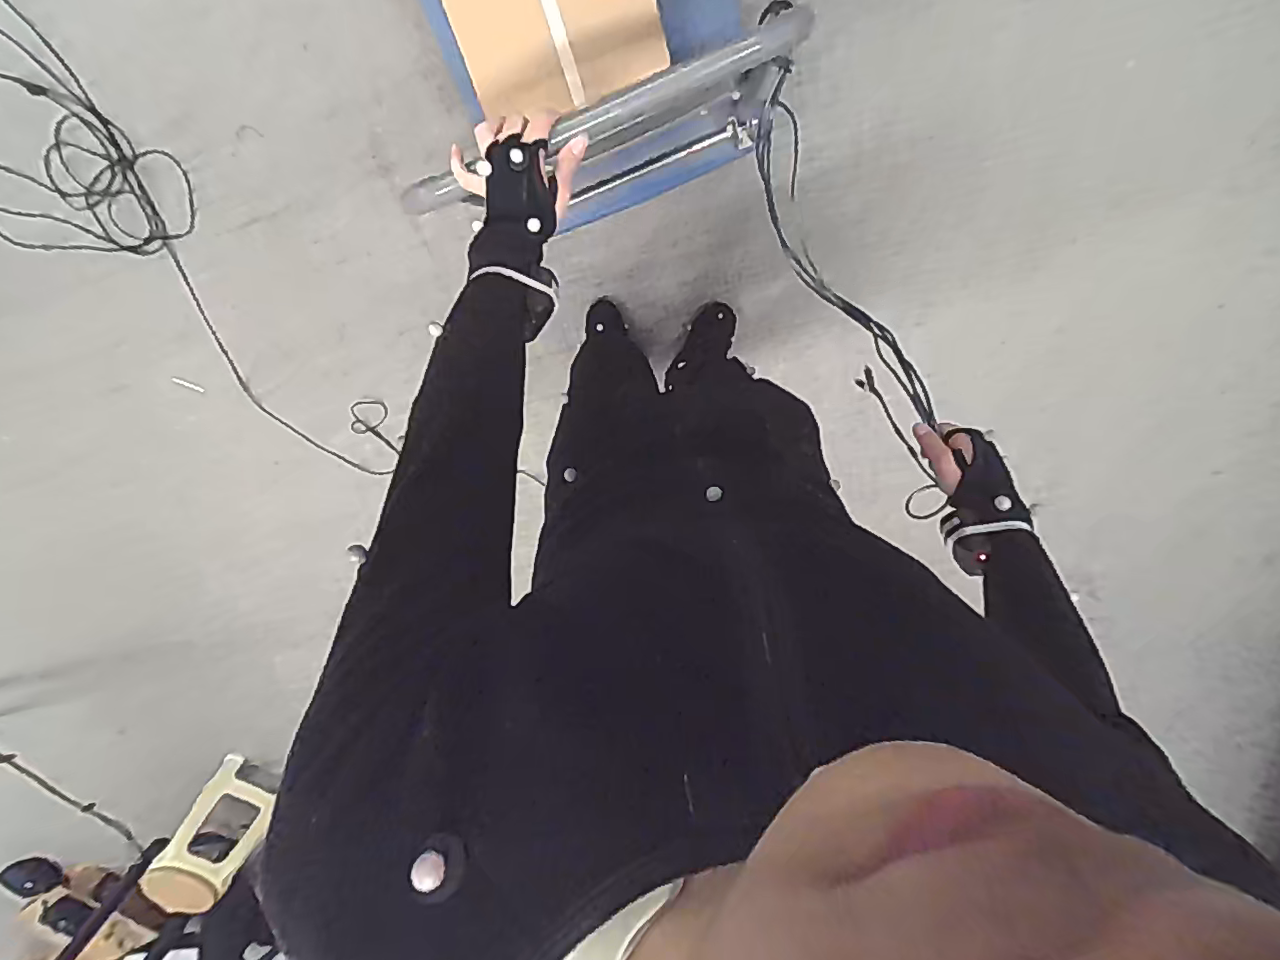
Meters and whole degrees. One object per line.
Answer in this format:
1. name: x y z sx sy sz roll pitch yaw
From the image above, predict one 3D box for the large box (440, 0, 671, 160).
1. large box: -0.153 -0.843 0.941 0.320 0.320 0.408 -15 114 11
